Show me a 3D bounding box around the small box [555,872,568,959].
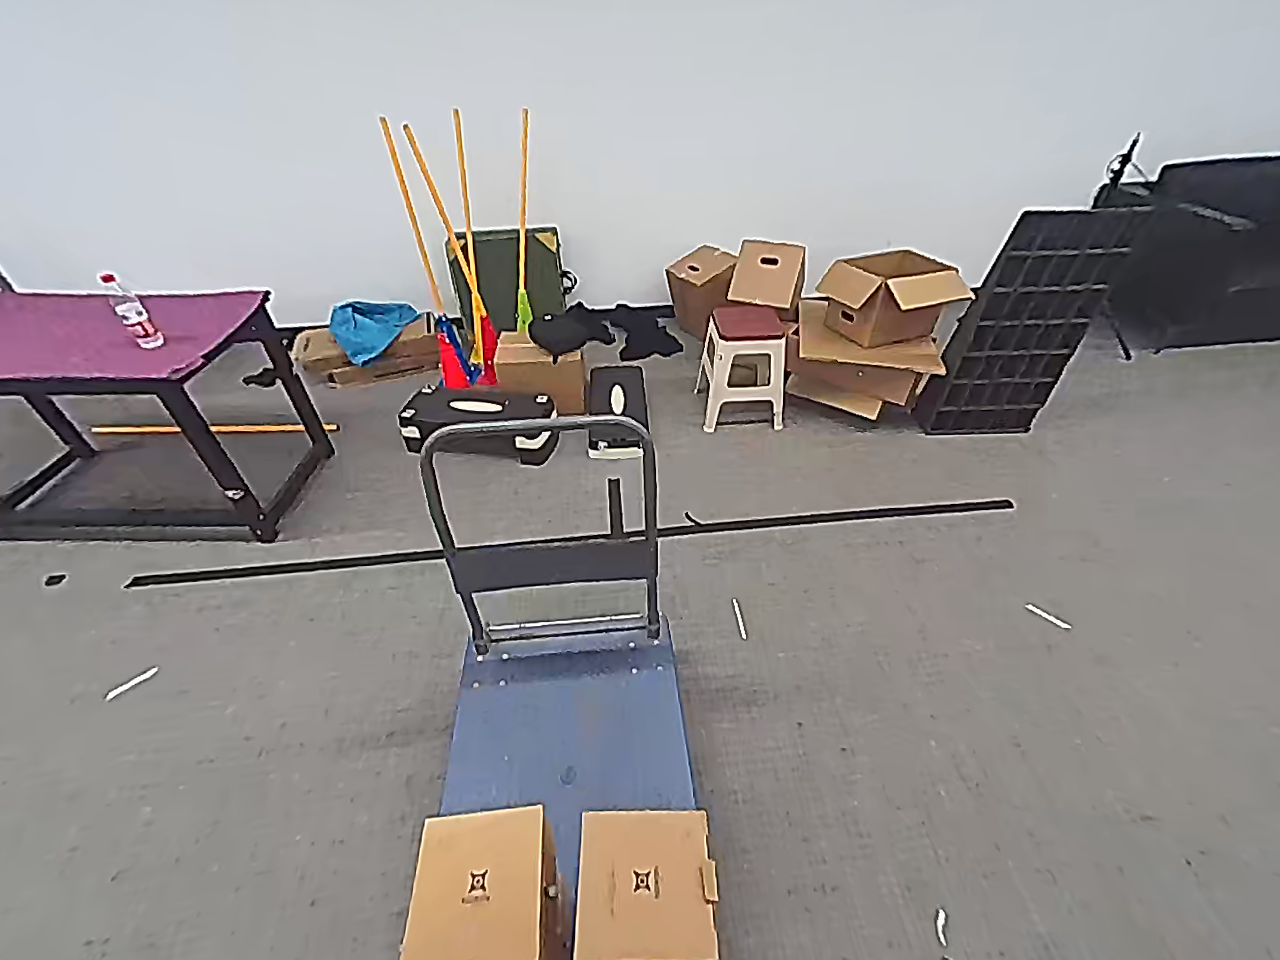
[{"bbox_3d":[-0.216,0.832,0.962,0.168,0.176,0.179,-4,40,-5],"label":"small box"}]

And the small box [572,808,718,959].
[{"bbox_3d":[0.007,0.578,0.752,0.179,0.176,0.168,-1,40,1],"label":"small box"}]

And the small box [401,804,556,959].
[{"bbox_3d":[-0.209,0.581,0.750,0.168,0.176,0.179,-4,41,-4],"label":"small box"}]
